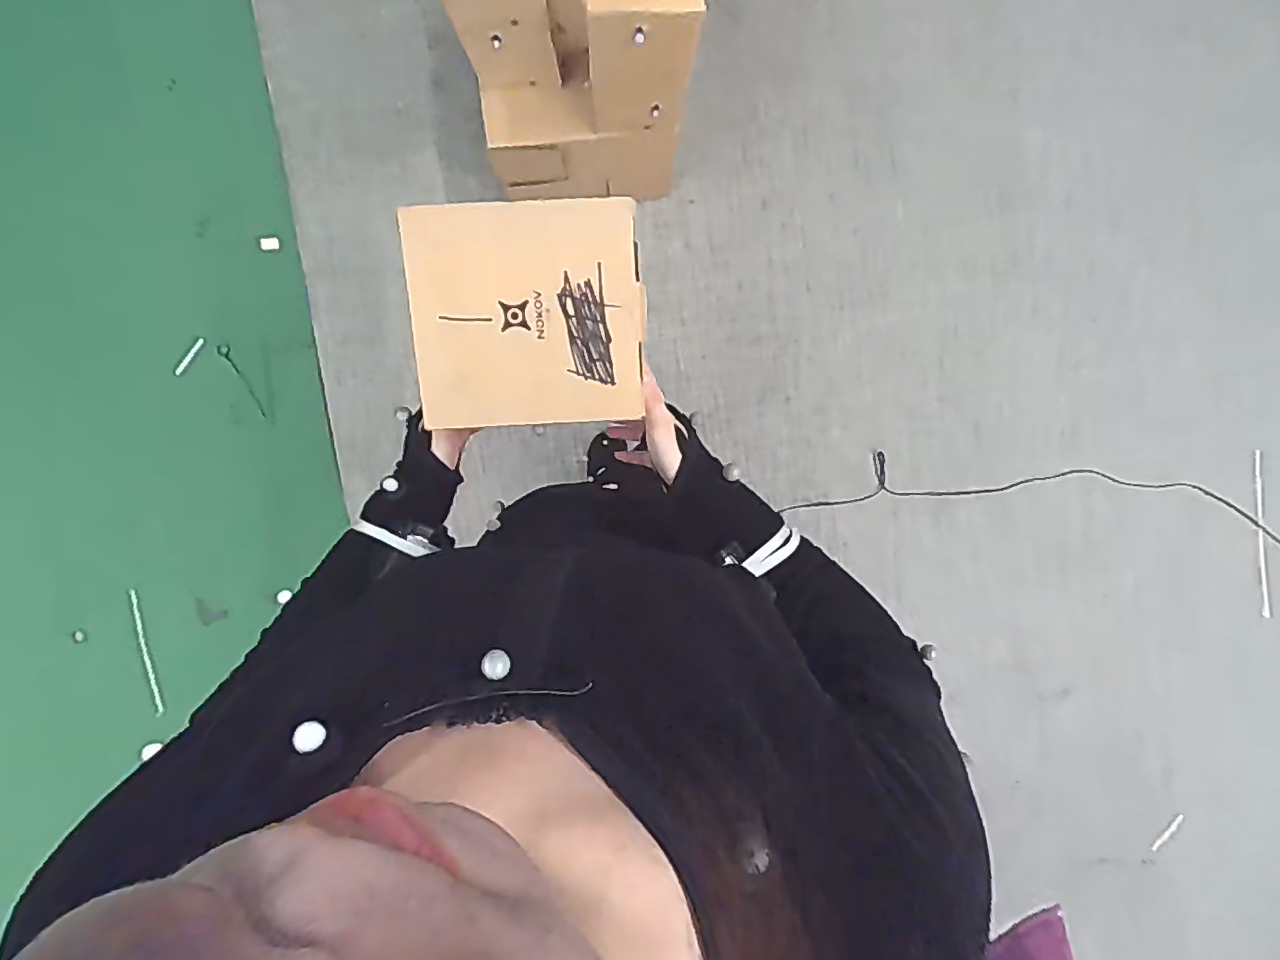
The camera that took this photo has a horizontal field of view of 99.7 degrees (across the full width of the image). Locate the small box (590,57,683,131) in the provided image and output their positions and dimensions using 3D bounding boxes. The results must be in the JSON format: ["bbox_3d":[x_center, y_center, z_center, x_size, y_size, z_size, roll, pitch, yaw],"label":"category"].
[{"bbox_3d":[-0.007,-0.792,1.022,0.168,0.176,0.179,-2,94,-2],"label":"small box"}]

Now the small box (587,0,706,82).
[{"bbox_3d":[0.006,-0.771,0.861,0.179,0.176,0.168,-1,95,-1],"label":"small box"}]

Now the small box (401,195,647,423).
[{"bbox_3d":[-0.088,-0.143,0.487,0.179,0.176,0.168,-3,101,-1],"label":"small box"}]

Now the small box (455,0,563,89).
[{"bbox_3d":[-0.240,-0.879,1.015,0.168,0.176,0.179,-2,94,1],"label":"small box"}]
